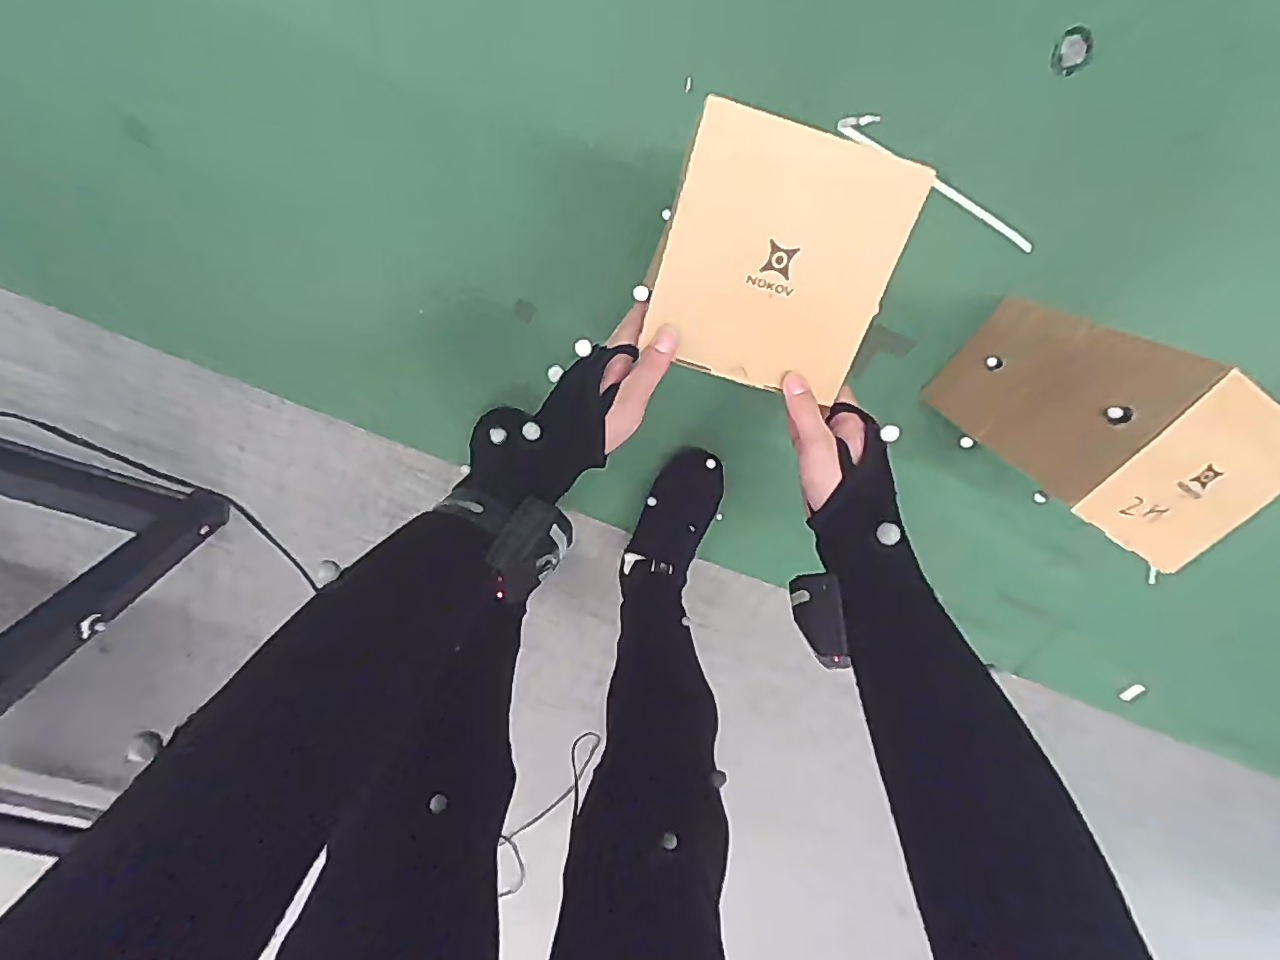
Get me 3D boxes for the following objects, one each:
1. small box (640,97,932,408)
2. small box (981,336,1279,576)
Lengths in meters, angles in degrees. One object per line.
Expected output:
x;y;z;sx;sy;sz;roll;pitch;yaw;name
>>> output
0.100;-0.186;0.465;0.168;0.176;0.179;15;114;-6;small box
0.538;-0.034;0.603;0.168;0.176;0.179;29;116;-15;small box
